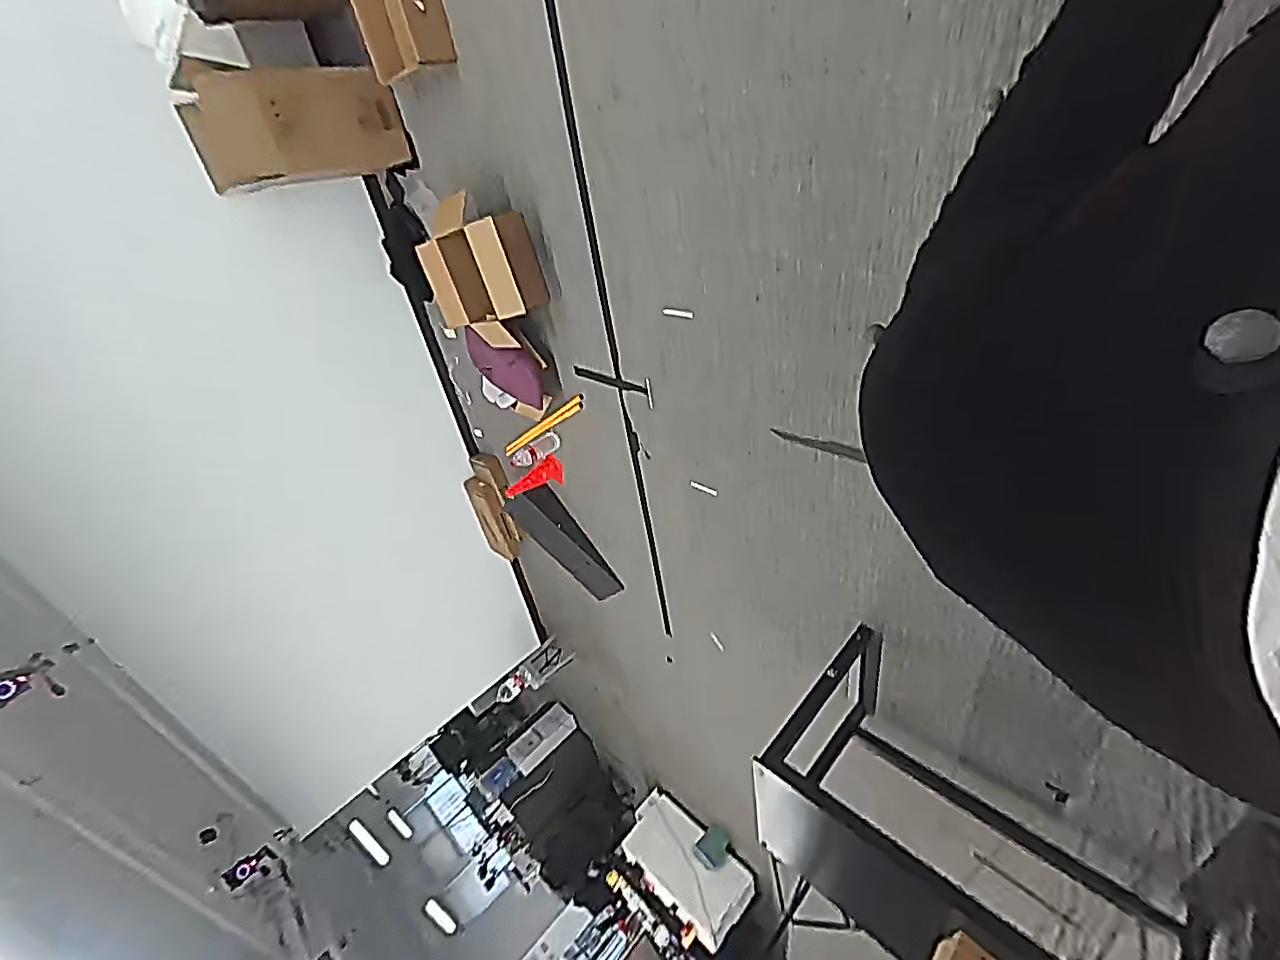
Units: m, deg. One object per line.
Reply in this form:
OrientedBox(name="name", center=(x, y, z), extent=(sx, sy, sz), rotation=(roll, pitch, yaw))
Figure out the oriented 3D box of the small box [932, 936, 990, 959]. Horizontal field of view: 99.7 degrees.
OrientedBox(name="small box", center=(0.833, 1.310, 1.369), extent=(0.168, 0.176, 0.179), rotation=(33, 142, 33))
